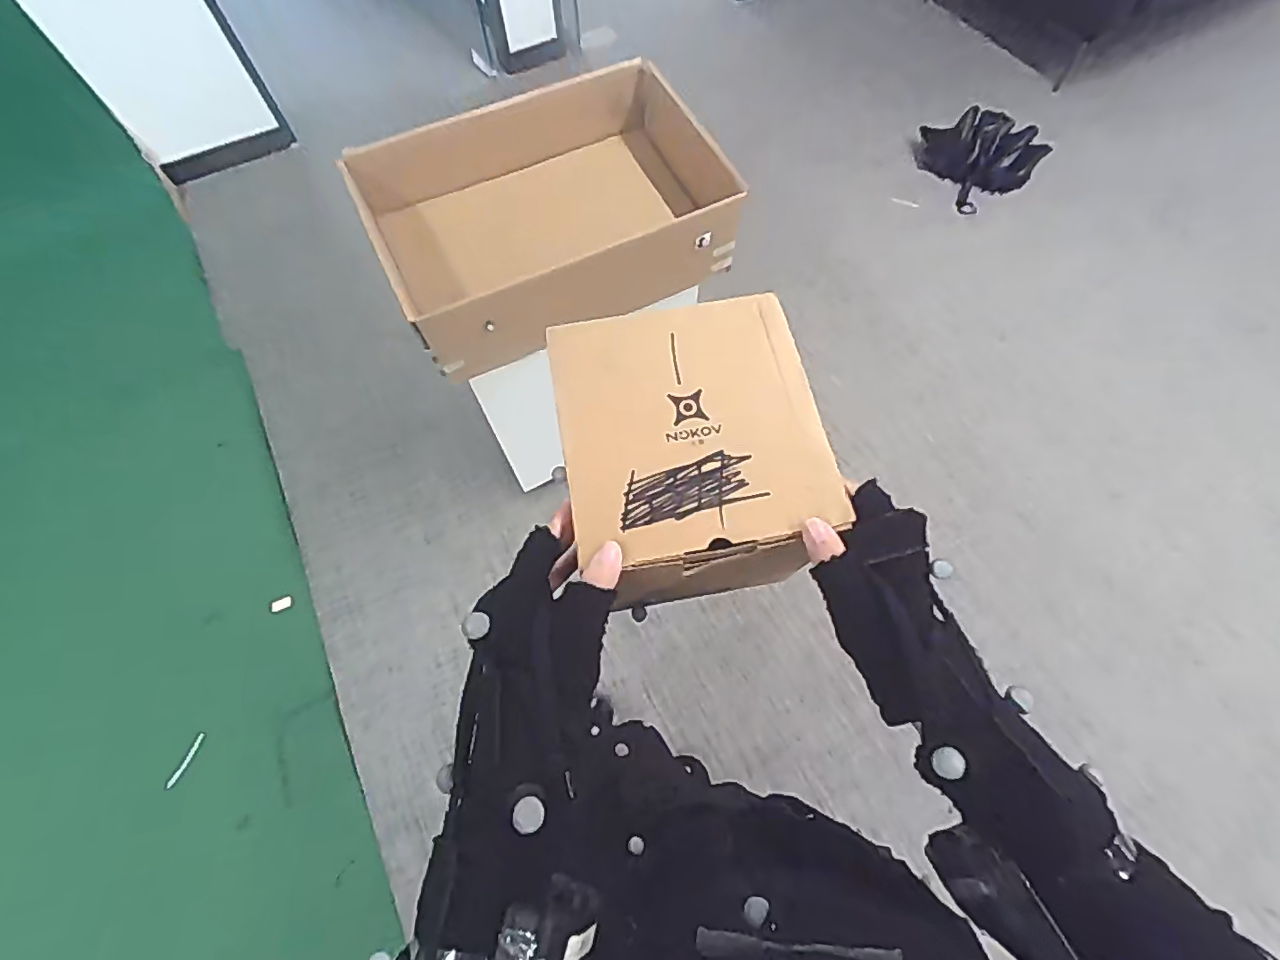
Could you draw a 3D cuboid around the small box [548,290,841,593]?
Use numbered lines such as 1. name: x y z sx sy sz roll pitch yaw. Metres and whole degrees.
1. small box: 0.030 -0.015 0.425 0.168 0.176 0.179 -9 69 -3
